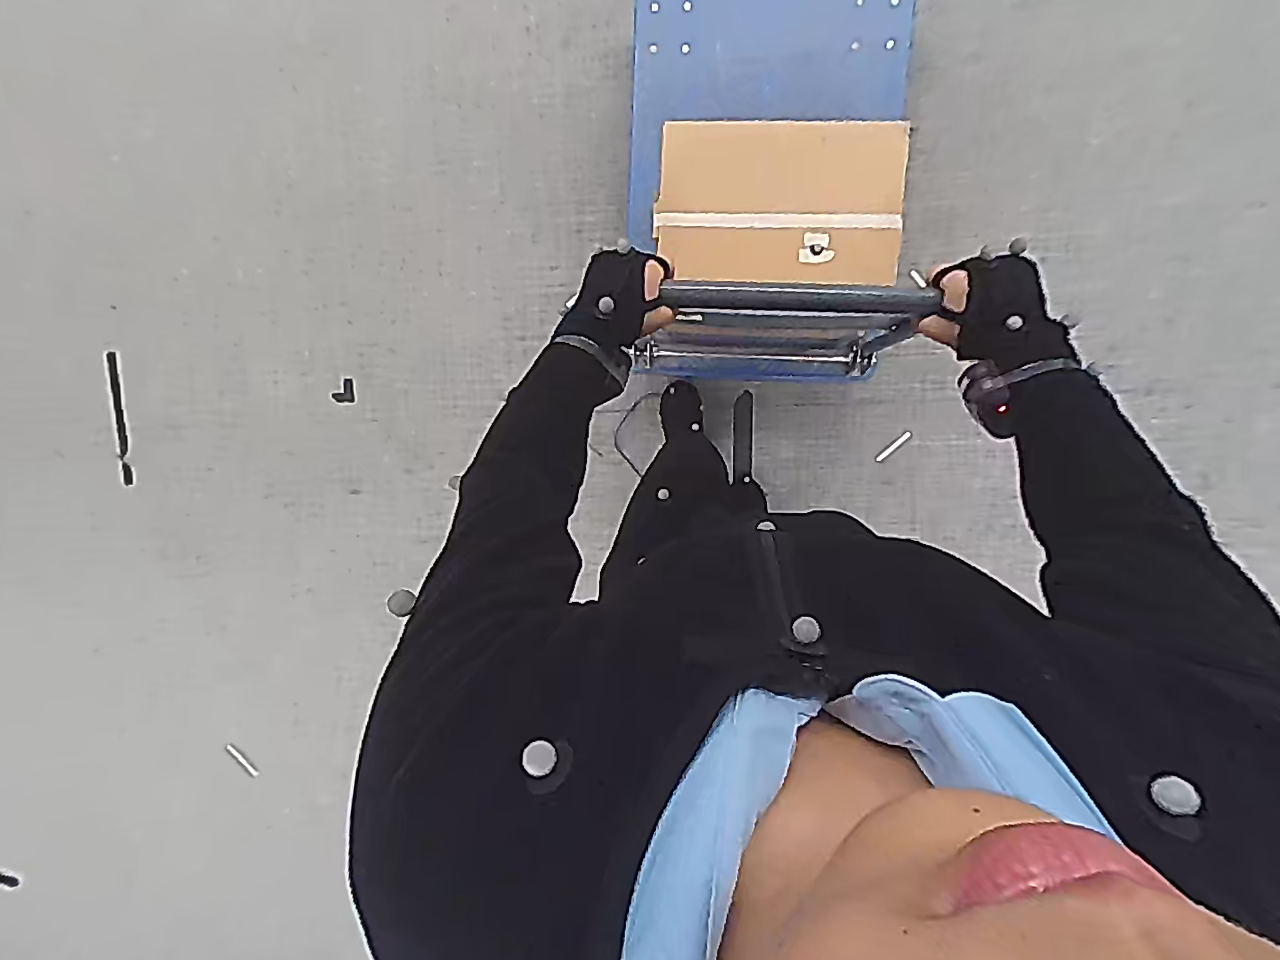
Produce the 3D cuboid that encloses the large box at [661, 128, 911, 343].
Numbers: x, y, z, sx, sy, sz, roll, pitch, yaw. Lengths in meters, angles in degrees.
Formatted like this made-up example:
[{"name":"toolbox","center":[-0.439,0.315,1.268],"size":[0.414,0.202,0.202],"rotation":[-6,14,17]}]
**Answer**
[{"name":"large box","center":[0.245,-0.442,1.051],"size":[0.408,0.320,0.320],"rotation":[3,99,4]}]
